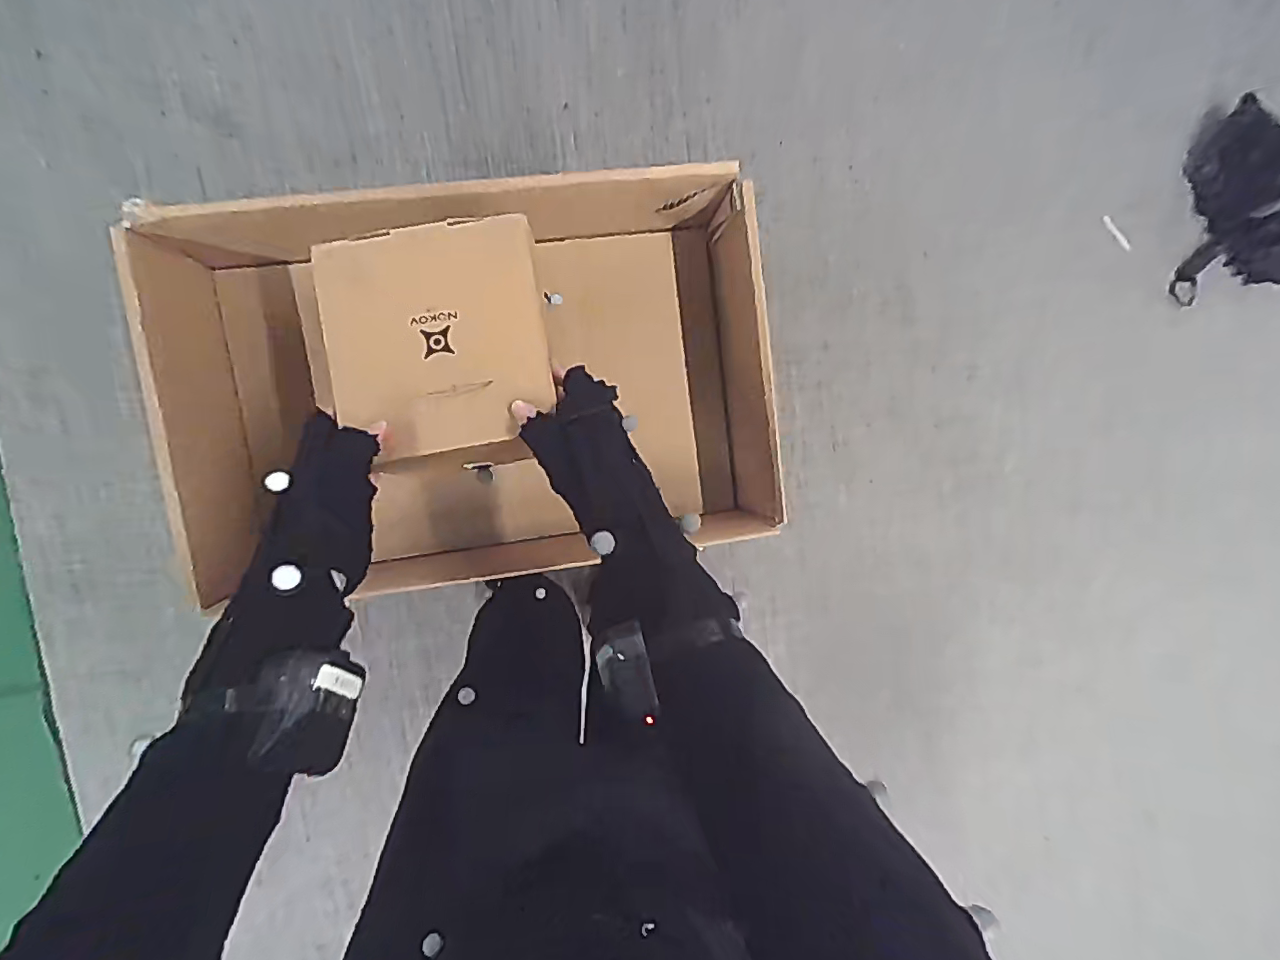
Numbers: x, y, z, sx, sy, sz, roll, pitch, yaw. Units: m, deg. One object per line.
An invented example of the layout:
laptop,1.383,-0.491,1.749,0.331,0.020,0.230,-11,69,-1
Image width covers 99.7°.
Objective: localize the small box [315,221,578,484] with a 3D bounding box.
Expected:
small box,-0.155,-0.098,0.489,0.168,0.176,0.179,-11,88,-2
